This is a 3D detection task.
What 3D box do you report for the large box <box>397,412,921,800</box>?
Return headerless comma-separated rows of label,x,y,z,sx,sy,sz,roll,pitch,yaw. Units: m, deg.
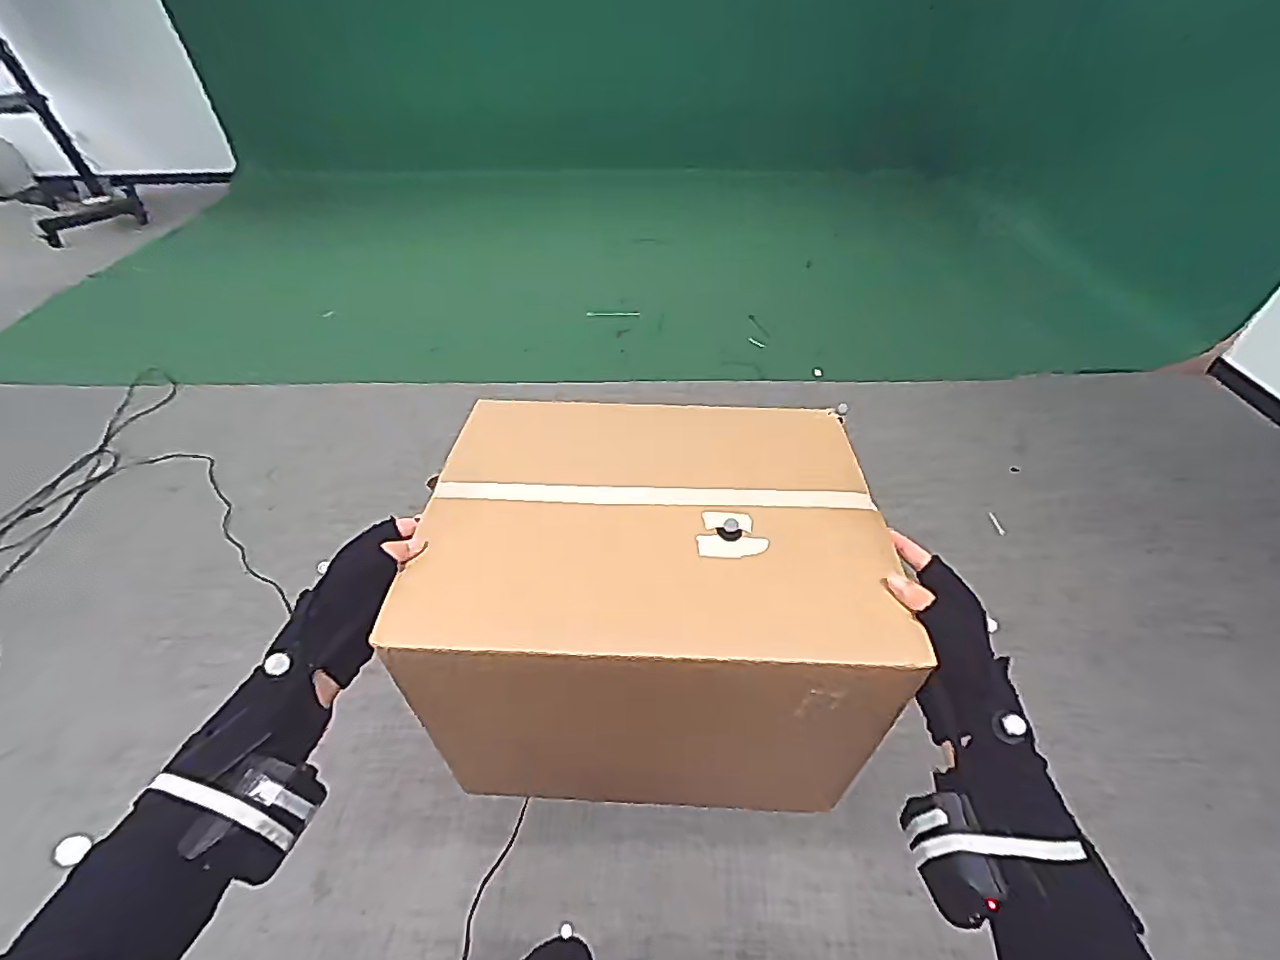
large box,0.013,0.138,0.611,0.408,0.320,0.320,2,42,1
